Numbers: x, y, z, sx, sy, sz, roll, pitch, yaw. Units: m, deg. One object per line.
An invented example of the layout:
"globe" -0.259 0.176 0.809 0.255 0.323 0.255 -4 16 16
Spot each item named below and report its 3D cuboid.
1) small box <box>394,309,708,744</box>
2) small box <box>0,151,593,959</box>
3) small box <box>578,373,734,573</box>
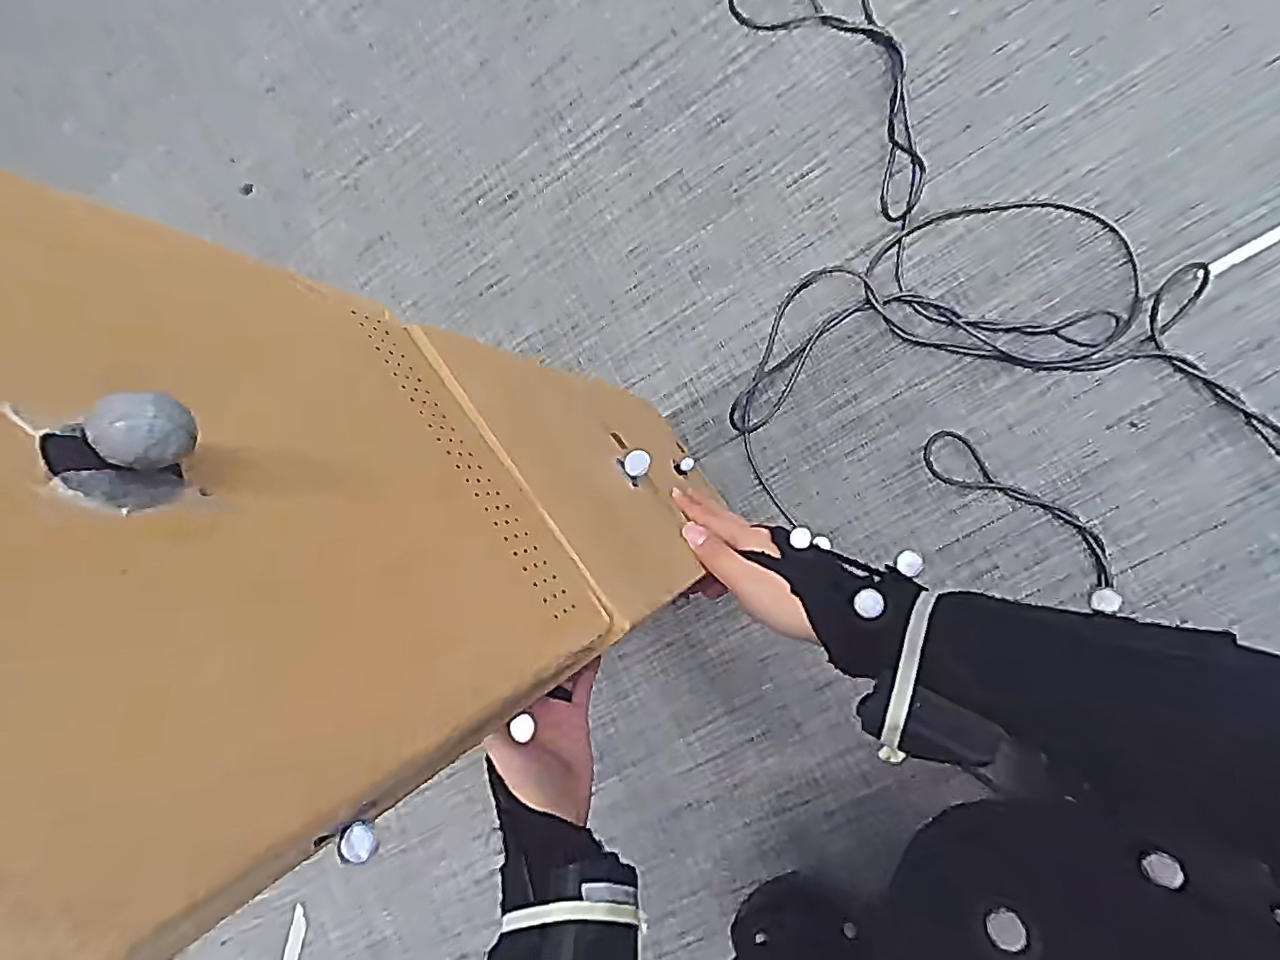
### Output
"small box" -0.085 0.041 0.314 0.179 0.176 0.168 -39 78 16
"small box" -0.147 0.037 0.164 0.168 0.176 0.179 -40 78 16
"small box" -0.034 0.035 0.470 0.179 0.176 0.168 -37 78 17
